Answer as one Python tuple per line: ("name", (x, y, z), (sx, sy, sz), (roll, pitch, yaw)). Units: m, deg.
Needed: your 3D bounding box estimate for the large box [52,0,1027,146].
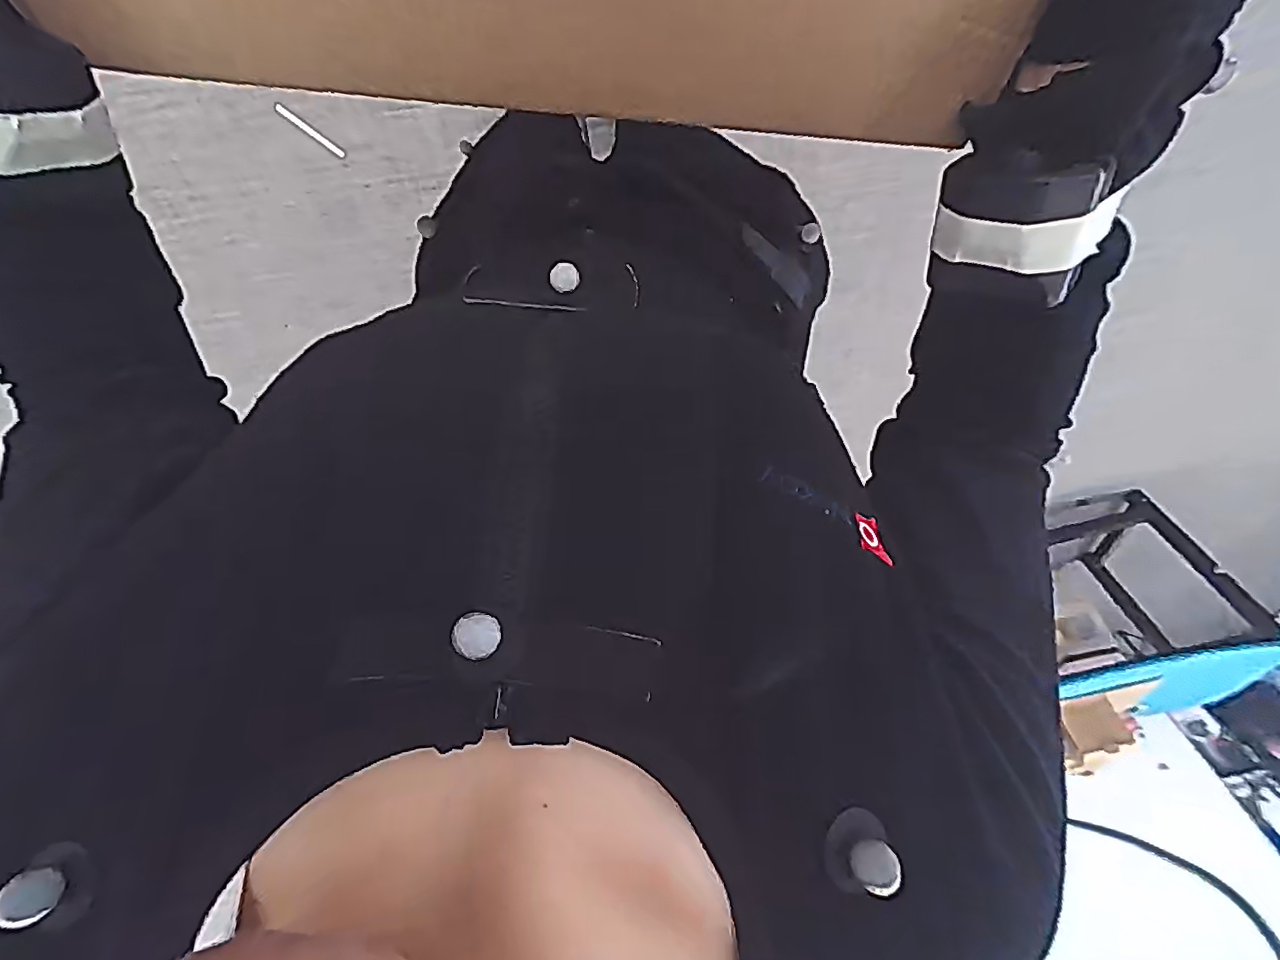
("large box", (-0.032, -0.373, 0.185), (0.408, 0.320, 0.320), (3, 154, -2))
